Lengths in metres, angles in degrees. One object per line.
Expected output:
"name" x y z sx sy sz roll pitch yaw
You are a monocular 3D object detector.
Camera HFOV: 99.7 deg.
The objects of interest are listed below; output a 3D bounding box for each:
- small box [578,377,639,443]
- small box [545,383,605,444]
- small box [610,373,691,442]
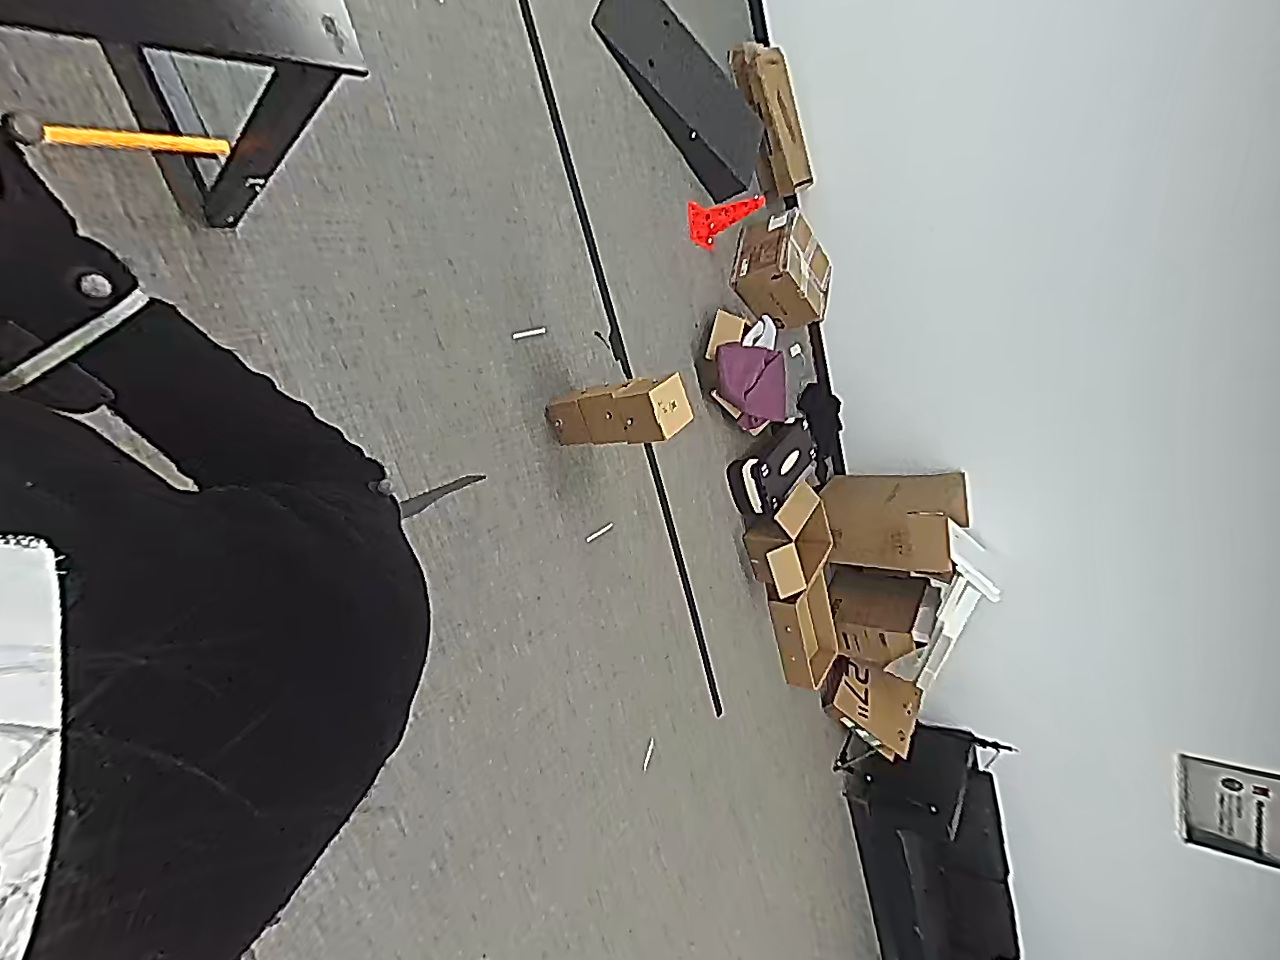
"small box" -0.089 -0.241 1.879 0.168 0.176 0.179 -36 115 -43
"small box" -0.215 -0.241 1.985 0.179 0.176 0.168 -38 116 -41
"small box" 0.034 -0.236 1.769 0.179 0.176 0.168 -41 117 -41
